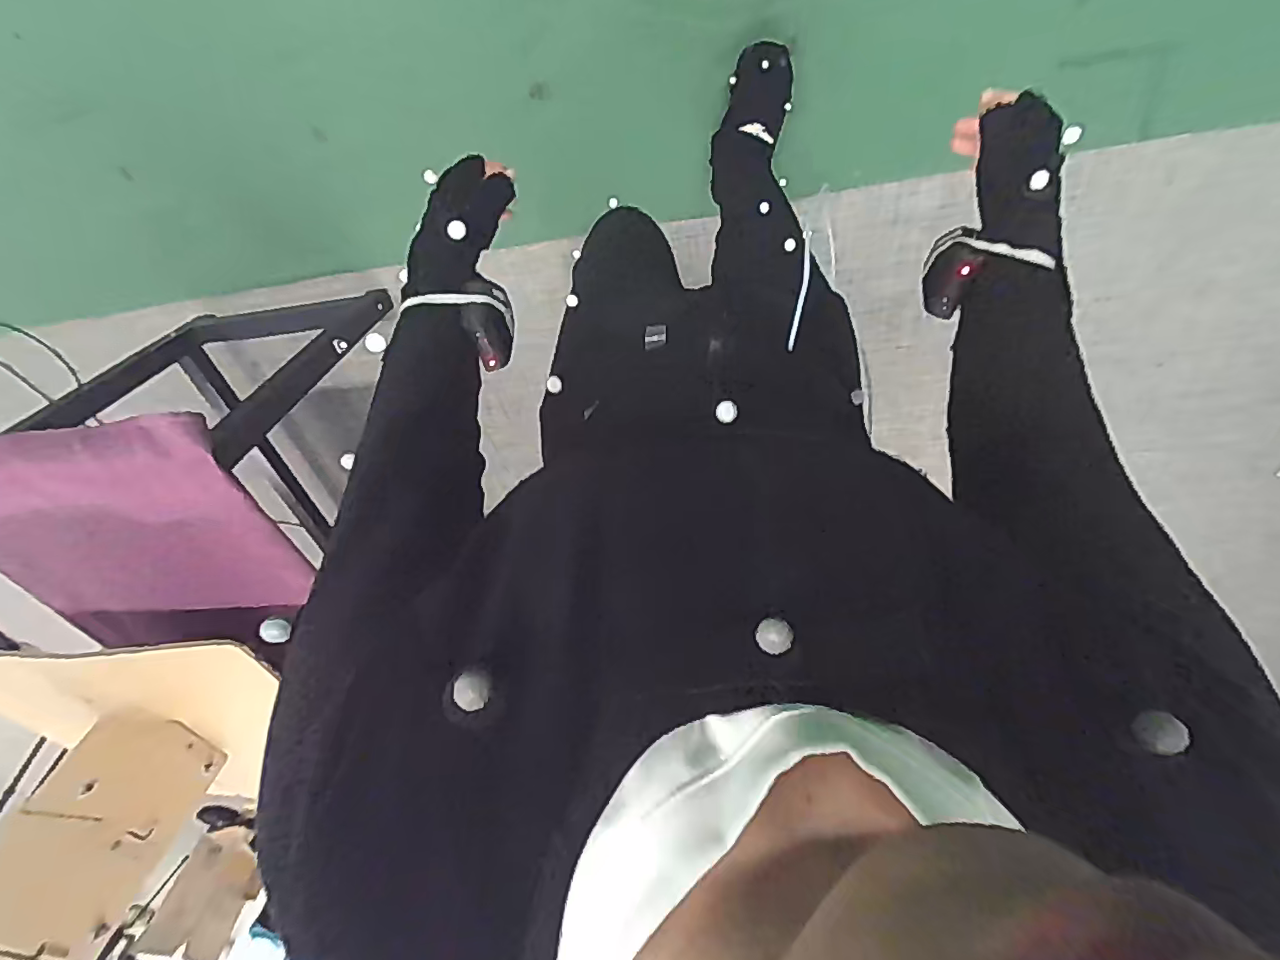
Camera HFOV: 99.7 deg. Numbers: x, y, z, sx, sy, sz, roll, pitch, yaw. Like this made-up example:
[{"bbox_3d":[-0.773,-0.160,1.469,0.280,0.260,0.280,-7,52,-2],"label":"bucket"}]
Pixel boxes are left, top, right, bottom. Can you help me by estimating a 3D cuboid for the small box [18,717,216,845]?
[{"bbox_3d":[-0.947,0.558,1.007,0.179,0.176,0.168,-5,131,10],"label":"small box"}]
